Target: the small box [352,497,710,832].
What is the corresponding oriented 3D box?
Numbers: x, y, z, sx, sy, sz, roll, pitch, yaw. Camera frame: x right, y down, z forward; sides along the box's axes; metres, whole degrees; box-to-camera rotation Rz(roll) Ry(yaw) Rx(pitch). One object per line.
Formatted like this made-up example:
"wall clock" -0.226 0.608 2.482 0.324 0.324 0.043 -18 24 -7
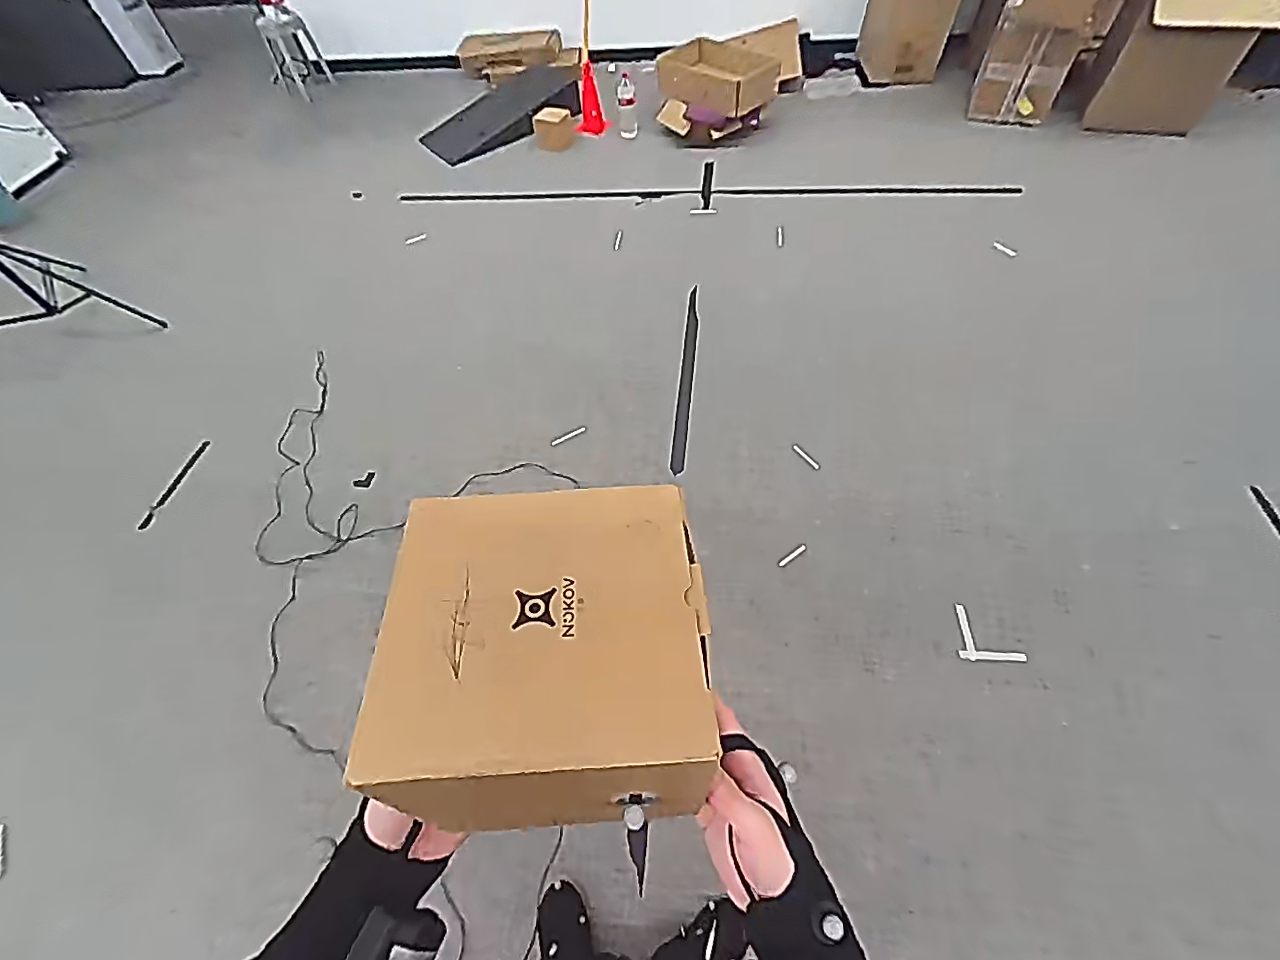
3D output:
"small box" -0.055 0.130 0.372 0.179 0.176 0.168 -4 50 -1
